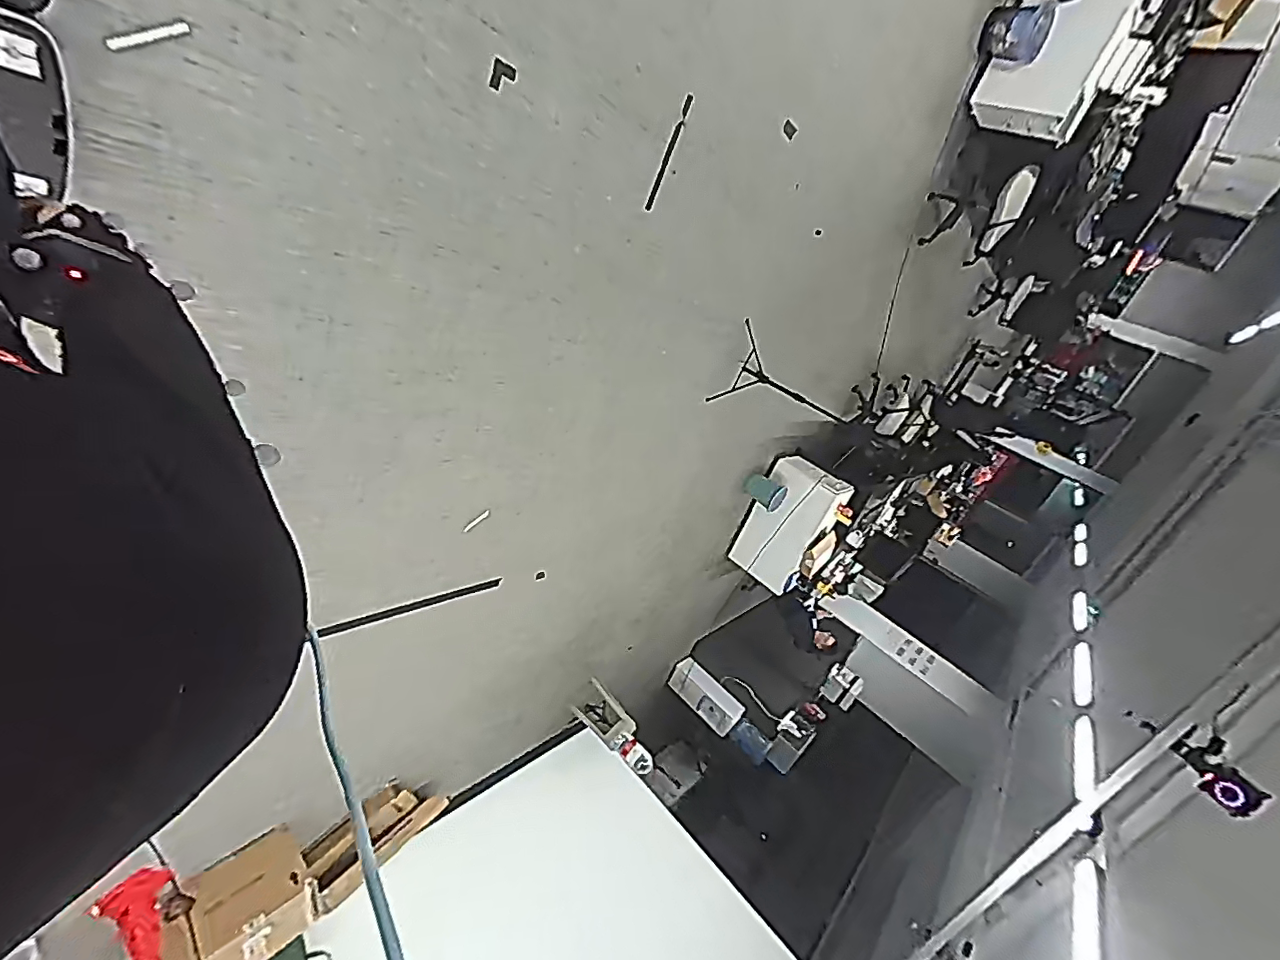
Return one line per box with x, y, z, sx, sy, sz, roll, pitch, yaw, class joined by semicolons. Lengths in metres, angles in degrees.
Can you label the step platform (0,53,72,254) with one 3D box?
-1.207;-0.534;0.677;0.684;0.204;0.286;0;120;-52;step platform
